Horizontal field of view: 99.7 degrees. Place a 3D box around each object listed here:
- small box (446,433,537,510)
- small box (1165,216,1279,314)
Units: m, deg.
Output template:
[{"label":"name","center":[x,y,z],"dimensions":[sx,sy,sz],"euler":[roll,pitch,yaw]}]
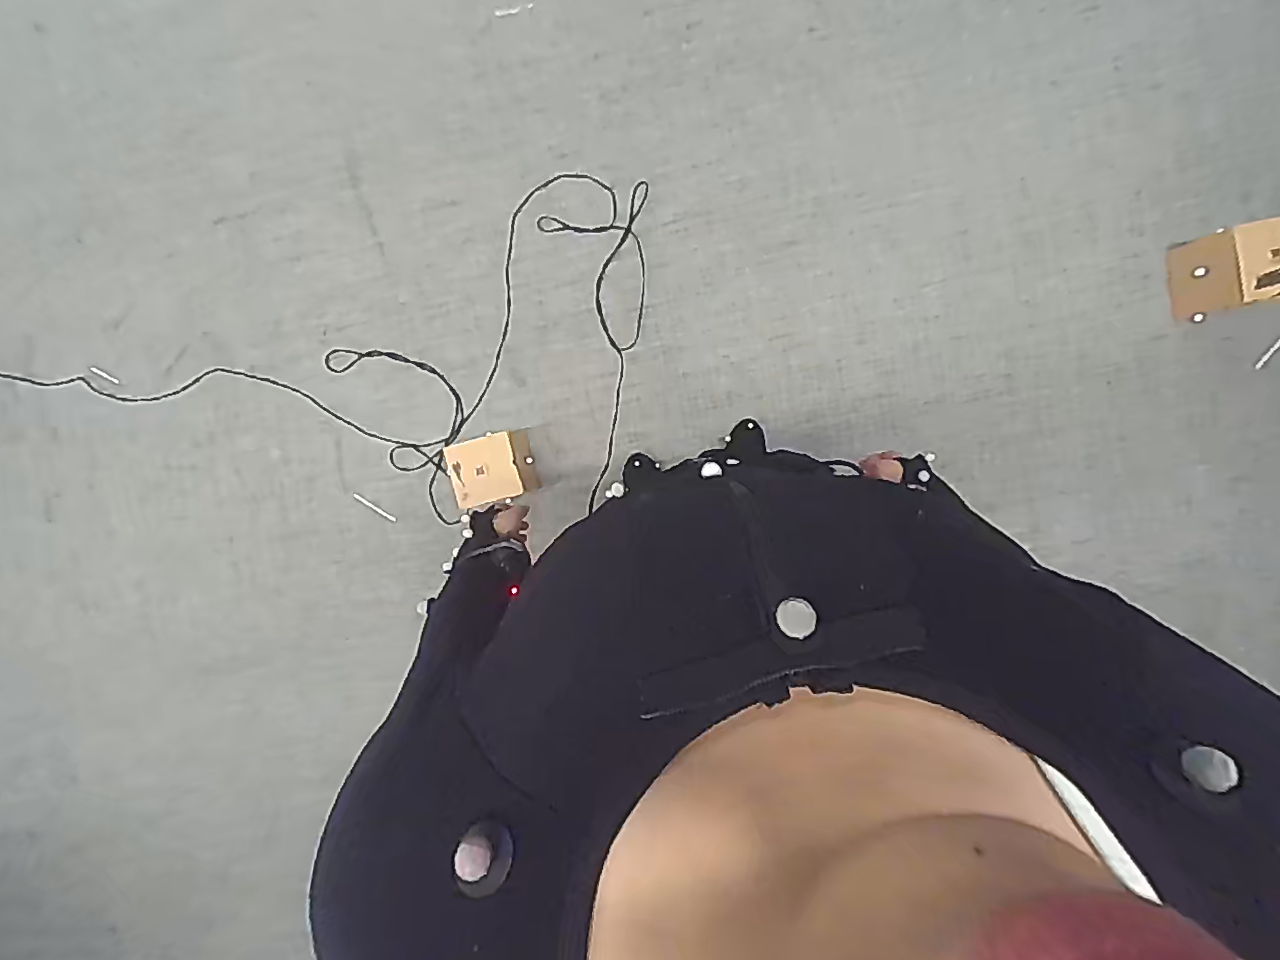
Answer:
[{"label":"small box","center":[-0.382,-0.028,1.433],"dimensions":[0.179,0.176,0.168],"euler":[-14,93,3]},{"label":"small box","center":[1.426,-0.509,1.298],"dimensions":[0.168,0.176,0.179],"euler":[-11,93,4]}]
